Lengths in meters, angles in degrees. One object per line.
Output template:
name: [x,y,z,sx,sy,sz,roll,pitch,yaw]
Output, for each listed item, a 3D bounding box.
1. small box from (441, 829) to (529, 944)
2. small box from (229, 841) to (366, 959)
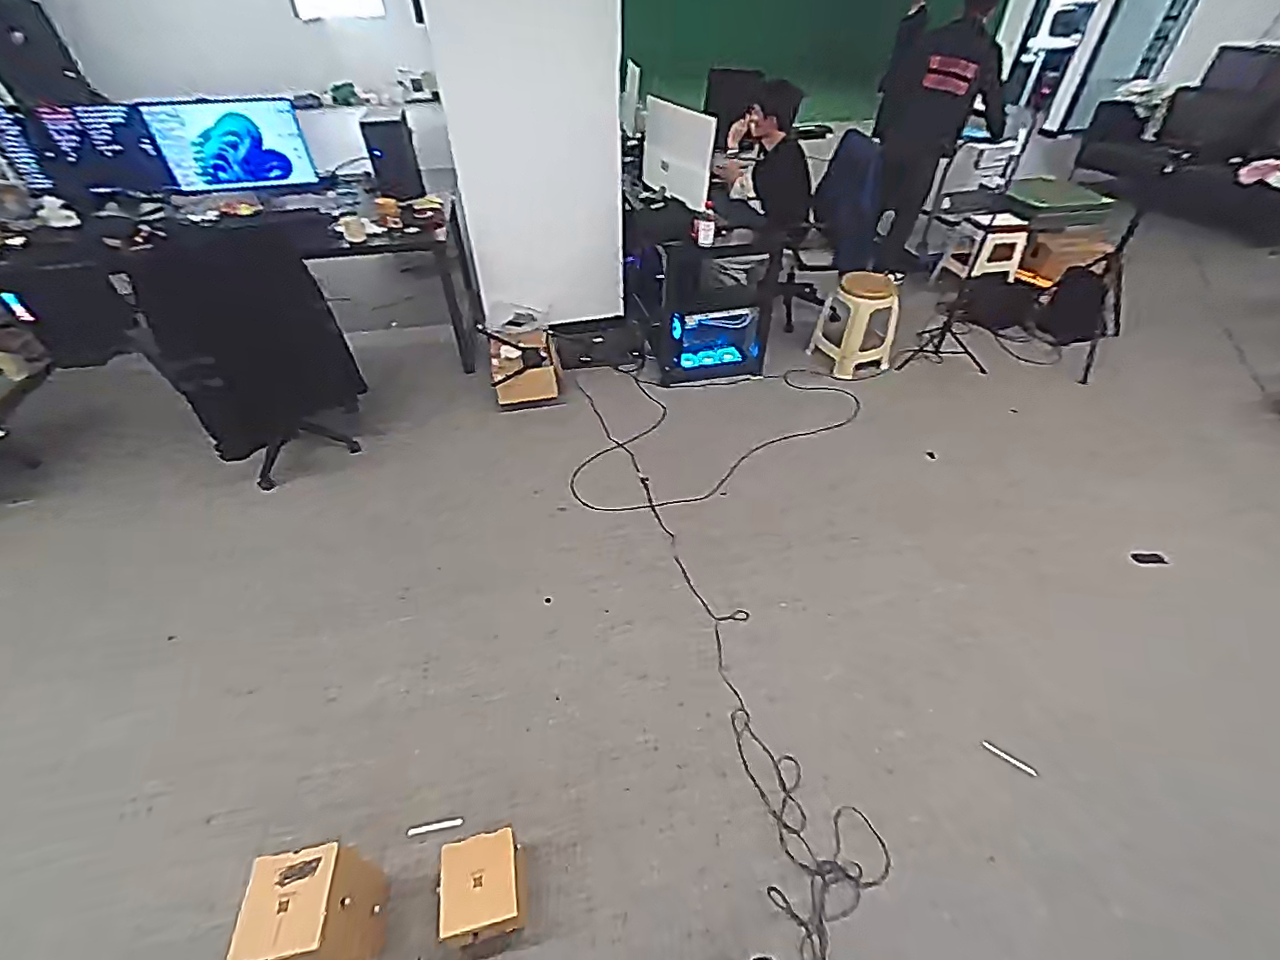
small box: [-0.360,0.958,1.269,0.168,0.176,0.179,-10,44,-10]
small box: [-0.687,0.879,1.112,0.168,0.176,0.179,-7,45,-7]
